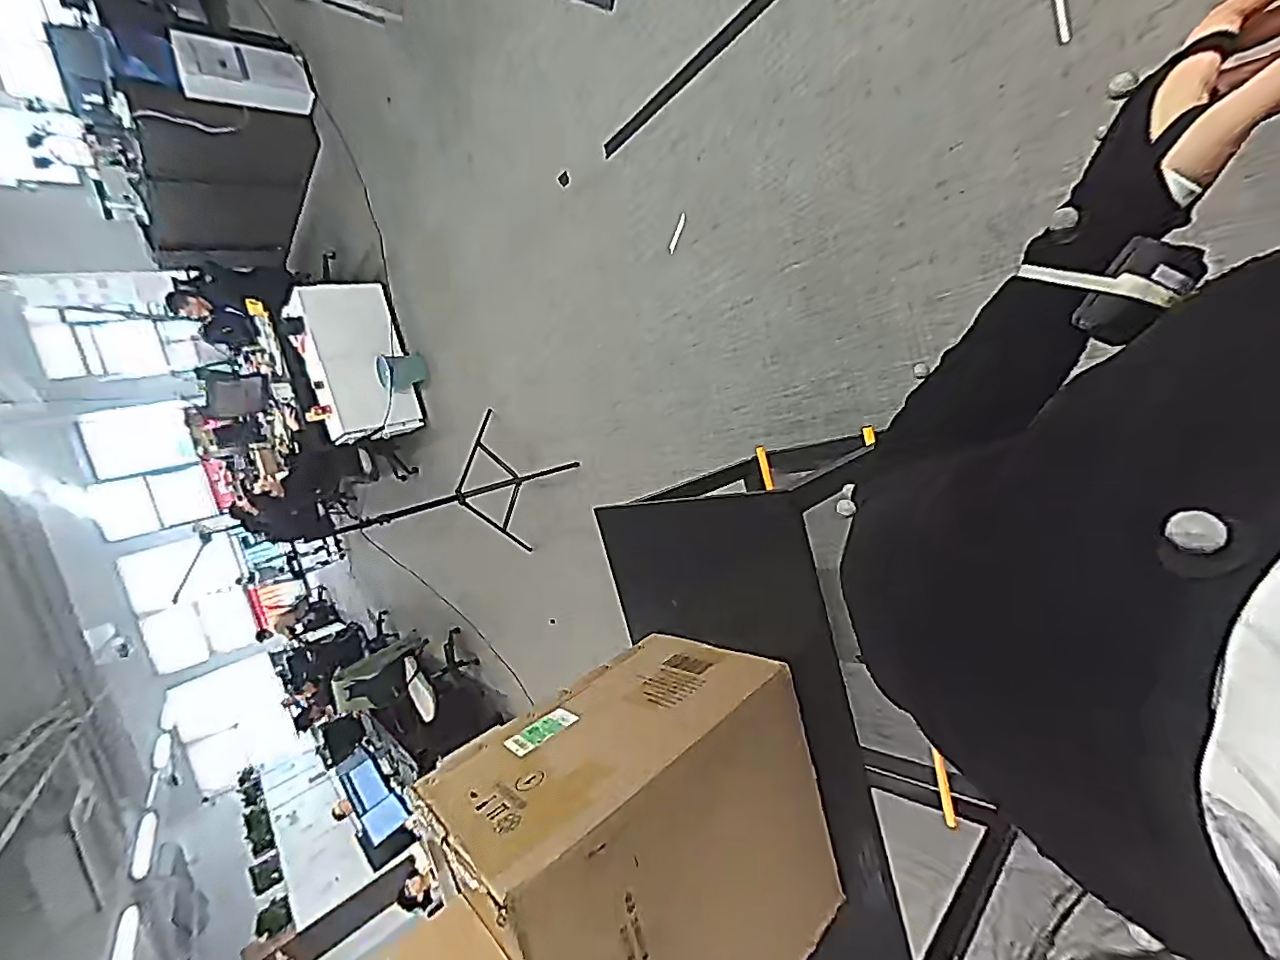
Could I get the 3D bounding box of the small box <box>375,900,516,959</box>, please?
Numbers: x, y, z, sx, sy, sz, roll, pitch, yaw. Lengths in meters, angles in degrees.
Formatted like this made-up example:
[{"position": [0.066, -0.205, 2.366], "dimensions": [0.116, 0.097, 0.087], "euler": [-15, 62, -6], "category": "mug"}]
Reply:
[{"position": [-0.251, 0.716, 0.716], "dimensions": [0.179, 0.176, 0.168], "euler": [-4, 104, 50], "category": "small box"}]
